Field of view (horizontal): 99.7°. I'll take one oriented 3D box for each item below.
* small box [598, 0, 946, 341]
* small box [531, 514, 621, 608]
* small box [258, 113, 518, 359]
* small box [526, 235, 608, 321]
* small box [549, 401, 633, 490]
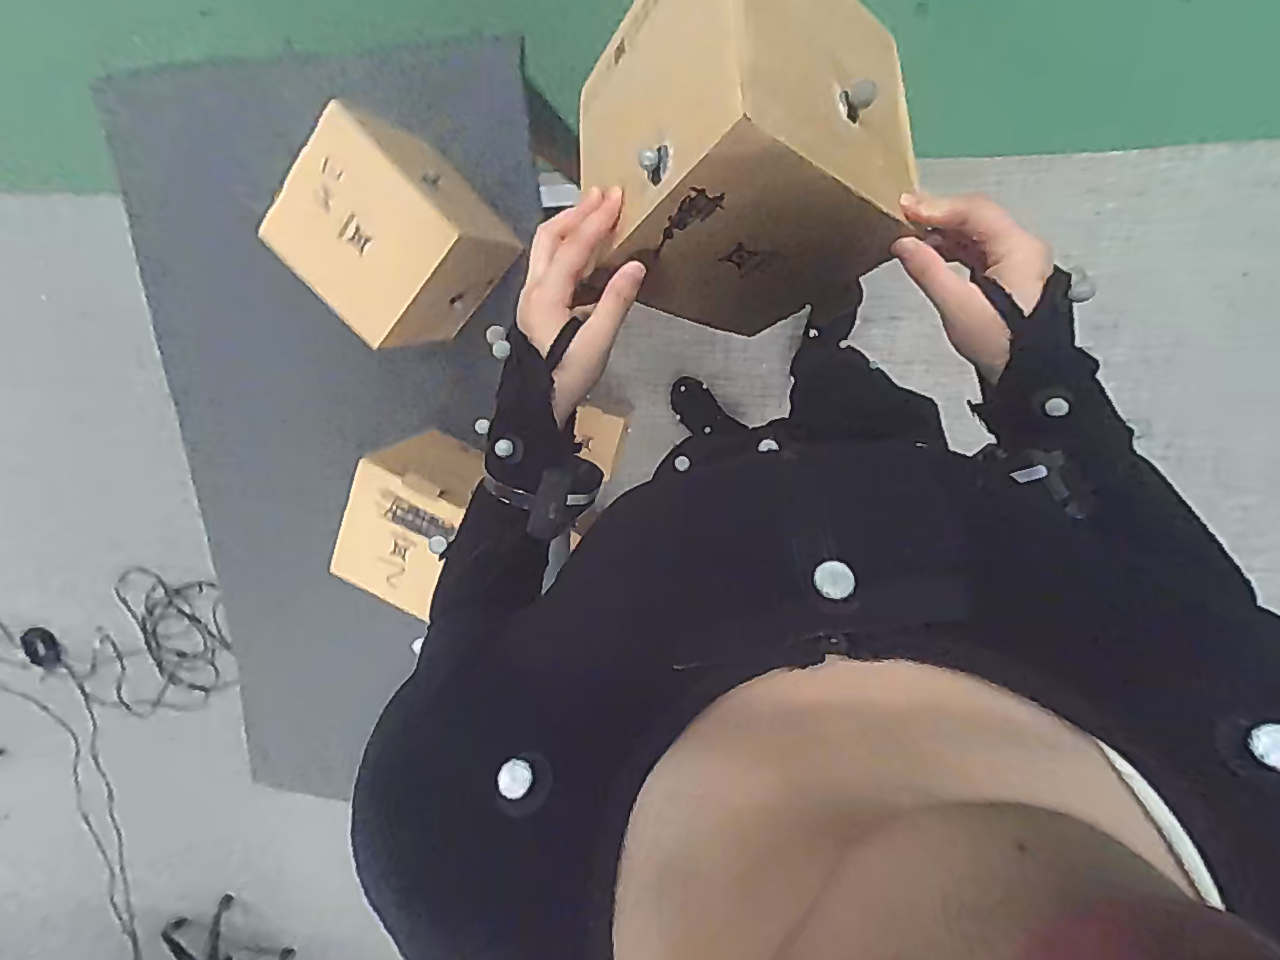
[{"bbox_3d":[0.084,-0.225,0.384,0.168,0.179,0.176,-20,68,53],"label":"small box"},{"bbox_3d":[-0.174,0.221,1.530,0.179,0.176,0.168,34,109,-1],"label":"small box"},{"bbox_3d":[-0.274,-0.267,0.626,0.168,0.176,0.179,-42,96,20],"label":"small box"},{"bbox_3d":[-0.170,-0.485,1.317,0.168,0.176,0.179,7,107,6],"label":"small box"},{"bbox_3d":[-0.123,-0.099,1.426,0.168,0.176,0.179,16,110,5],"label":"small box"}]
